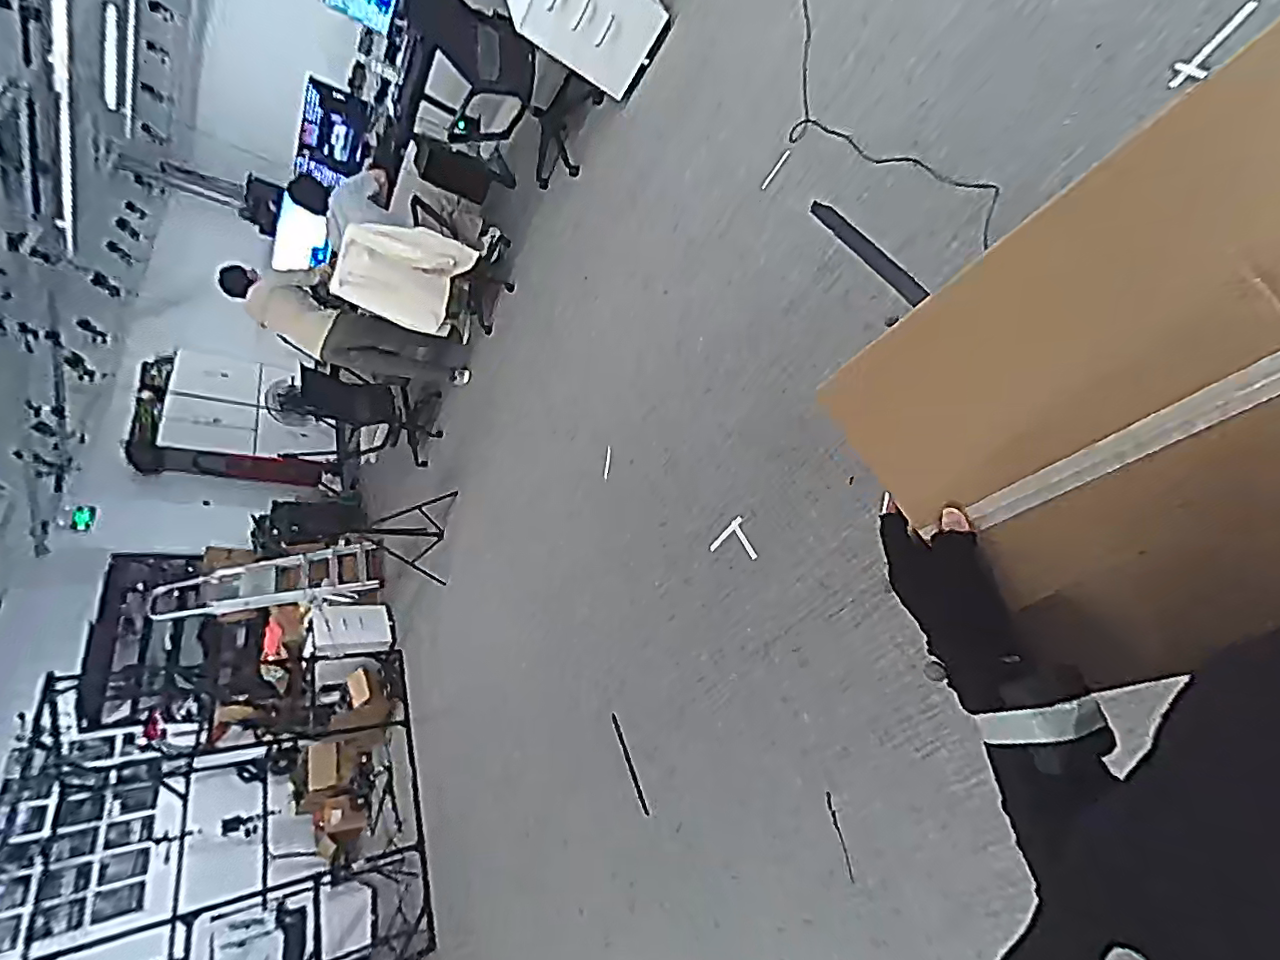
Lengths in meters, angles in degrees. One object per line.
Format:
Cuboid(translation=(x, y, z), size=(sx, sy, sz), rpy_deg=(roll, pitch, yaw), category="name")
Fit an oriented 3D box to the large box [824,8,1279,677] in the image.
Cuboid(translation=(0.444, -0.103, 0.440), size=(0.320, 0.320, 0.408), rpy_deg=(55, 133, 8), category="large box")
